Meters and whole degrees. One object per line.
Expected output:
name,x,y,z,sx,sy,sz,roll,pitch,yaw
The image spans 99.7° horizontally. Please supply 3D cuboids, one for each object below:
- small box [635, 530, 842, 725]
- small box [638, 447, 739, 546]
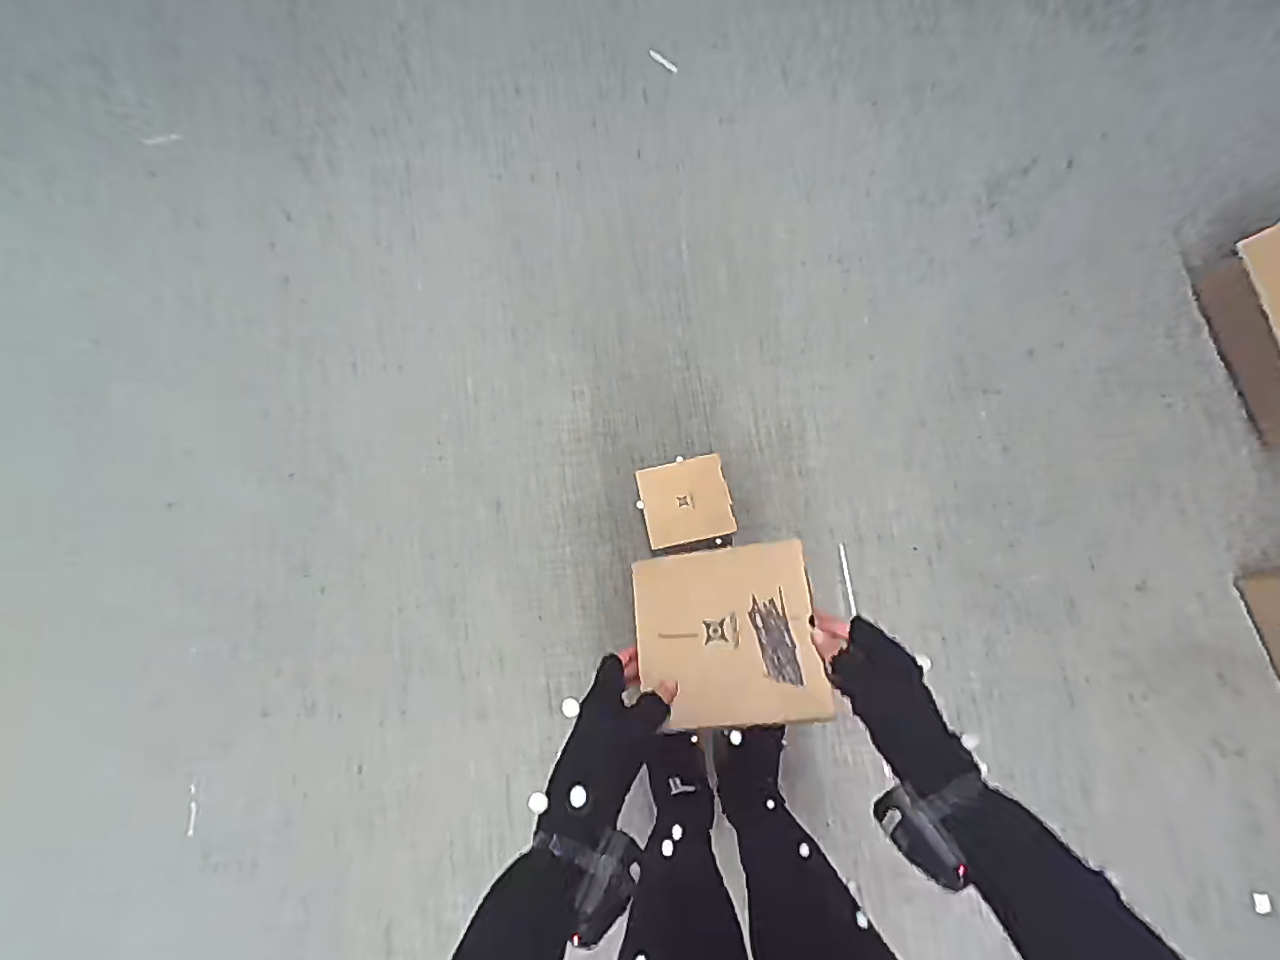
small box,0.102,0.165,0.576,0.179,0.176,0.168,-10,64,12
small box,0.104,0.043,1.158,0.179,0.176,0.168,-13,80,3
